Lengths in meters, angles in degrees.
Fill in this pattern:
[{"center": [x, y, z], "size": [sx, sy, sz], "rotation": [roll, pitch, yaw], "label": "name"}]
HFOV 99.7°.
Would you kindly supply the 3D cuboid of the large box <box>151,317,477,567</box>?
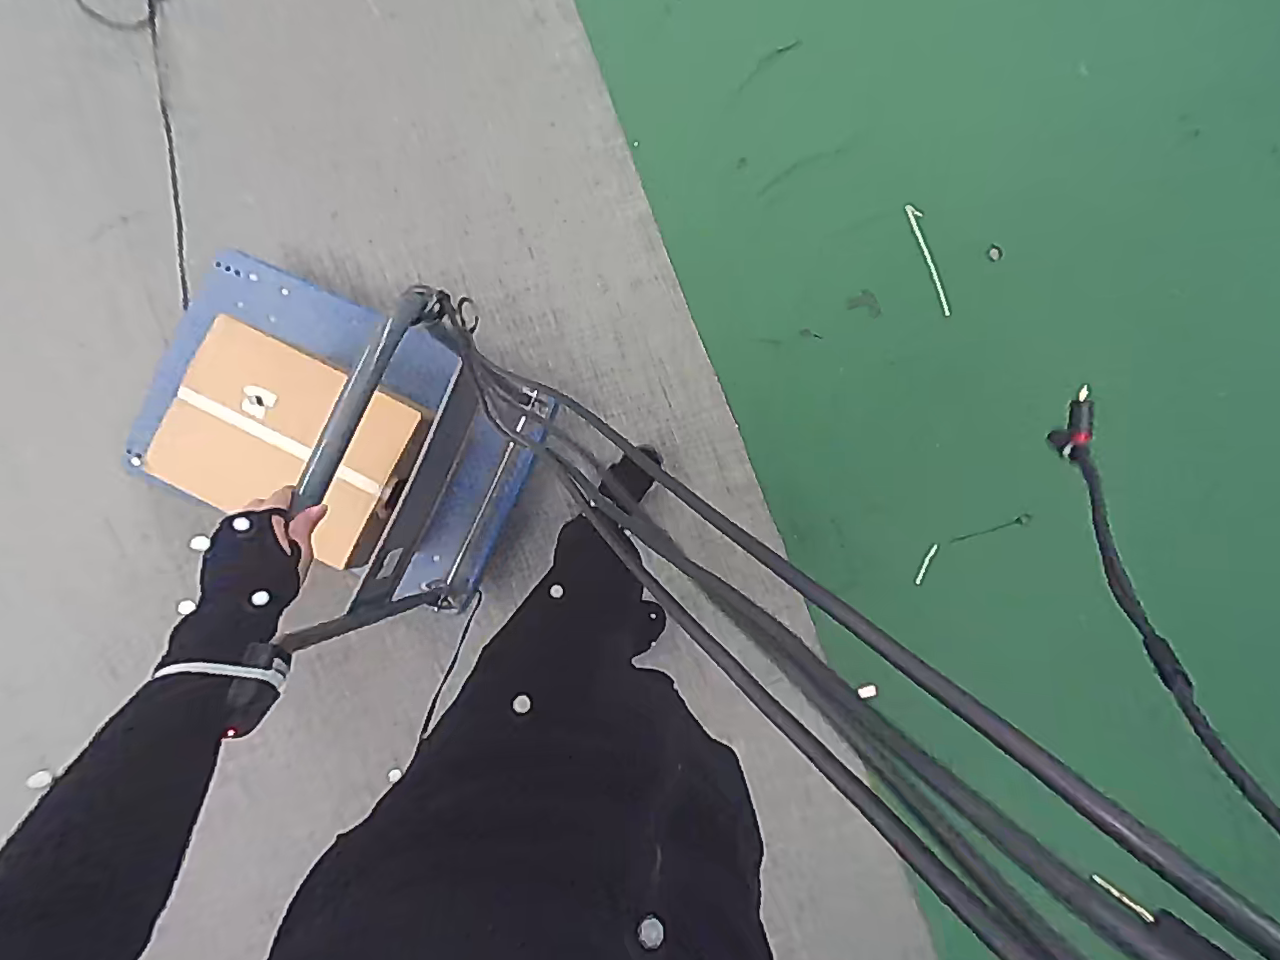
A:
[{"center": [-0.609, -0.064, 1.090], "size": [0.408, 0.320, 0.320], "rotation": [27, 88, 1], "label": "large box"}]
